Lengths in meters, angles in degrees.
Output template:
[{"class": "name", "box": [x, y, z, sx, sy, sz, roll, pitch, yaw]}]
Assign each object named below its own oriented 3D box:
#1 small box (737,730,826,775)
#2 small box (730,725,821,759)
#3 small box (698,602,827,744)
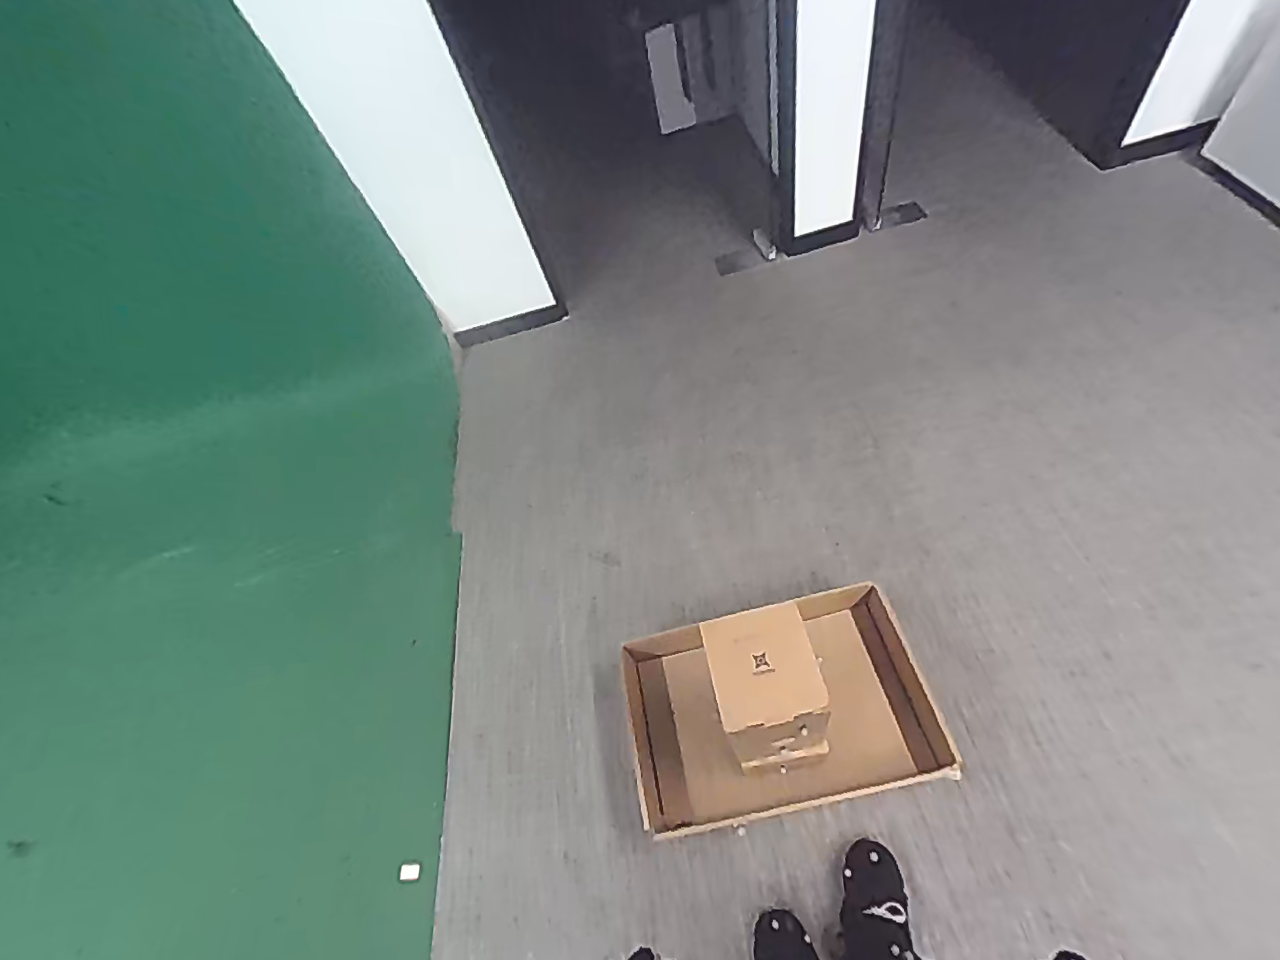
[{"class": "small box", "box": [0.292, 0.534, 1.181, 0.179, 0.176, 0.168, -14, 53, 8]}, {"class": "small box", "box": [0.246, 0.434, 1.063, 0.168, 0.176, 0.179, -18, 53, 5]}, {"class": "small box", "box": [0.205, 0.335, 0.916, 0.168, 0.176, 0.179, -15, 53, 4]}]
